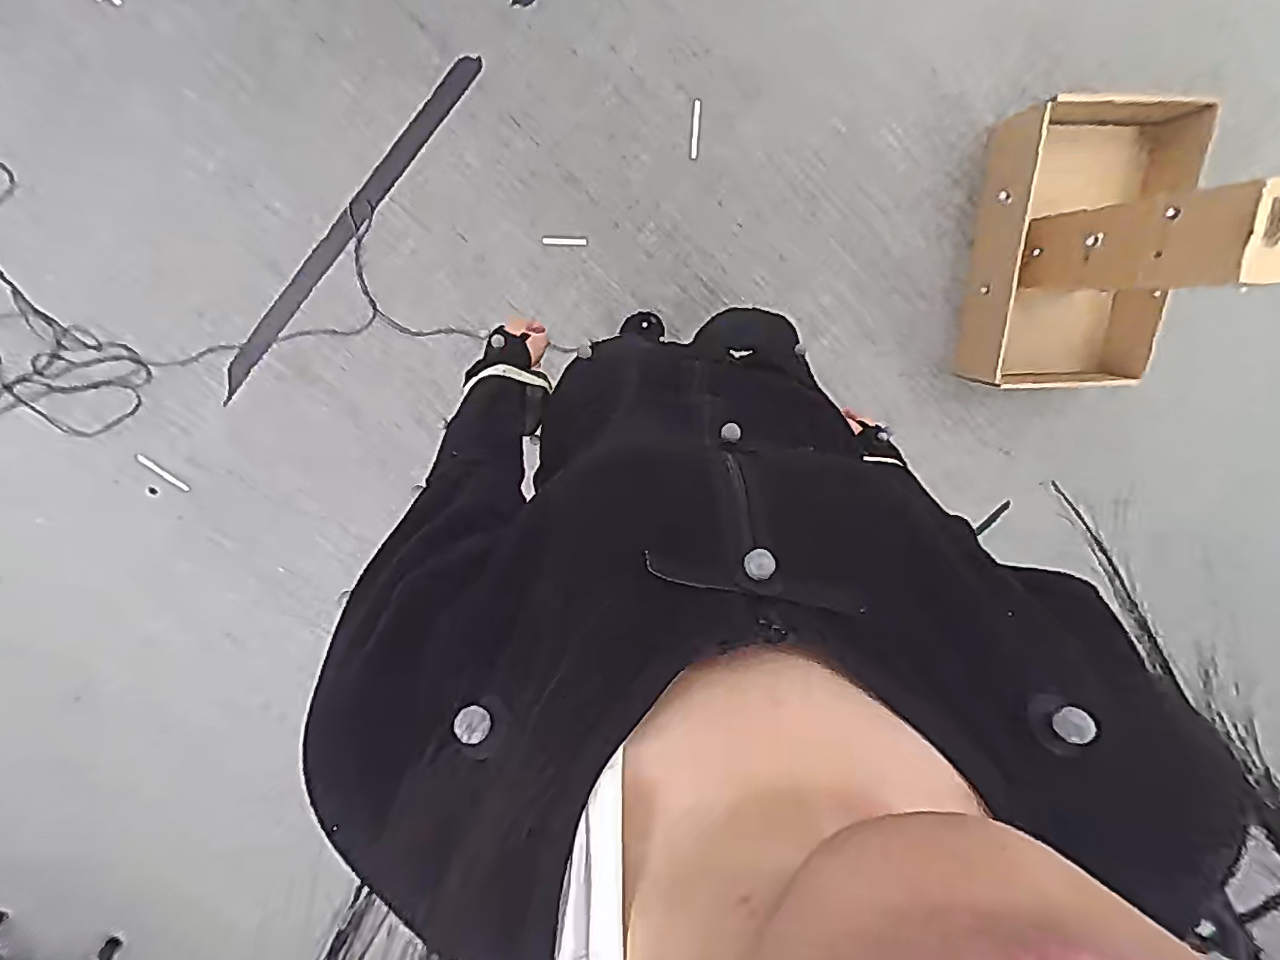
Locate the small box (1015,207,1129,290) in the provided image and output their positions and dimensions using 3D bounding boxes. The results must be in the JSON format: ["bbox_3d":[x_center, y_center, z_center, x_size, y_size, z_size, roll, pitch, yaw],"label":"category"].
[{"bbox_3d":[1.056,-0.547,1.296,0.179,0.176,0.168,1,108,-5],"label":"small box"}]

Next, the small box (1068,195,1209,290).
[{"bbox_3d":[1.071,-0.494,1.143,0.179,0.176,0.168,0,108,-4],"label":"small box"}]

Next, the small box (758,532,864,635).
[{"bbox_3d":[0.377,0.228,1.225,0.168,0.176,0.179,3,108,-5],"label":"small box"}]

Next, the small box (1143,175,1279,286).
[{"bbox_3d":[1.090,-0.444,0.987,0.179,0.176,0.168,-2,108,-6],"label":"small box"}]
